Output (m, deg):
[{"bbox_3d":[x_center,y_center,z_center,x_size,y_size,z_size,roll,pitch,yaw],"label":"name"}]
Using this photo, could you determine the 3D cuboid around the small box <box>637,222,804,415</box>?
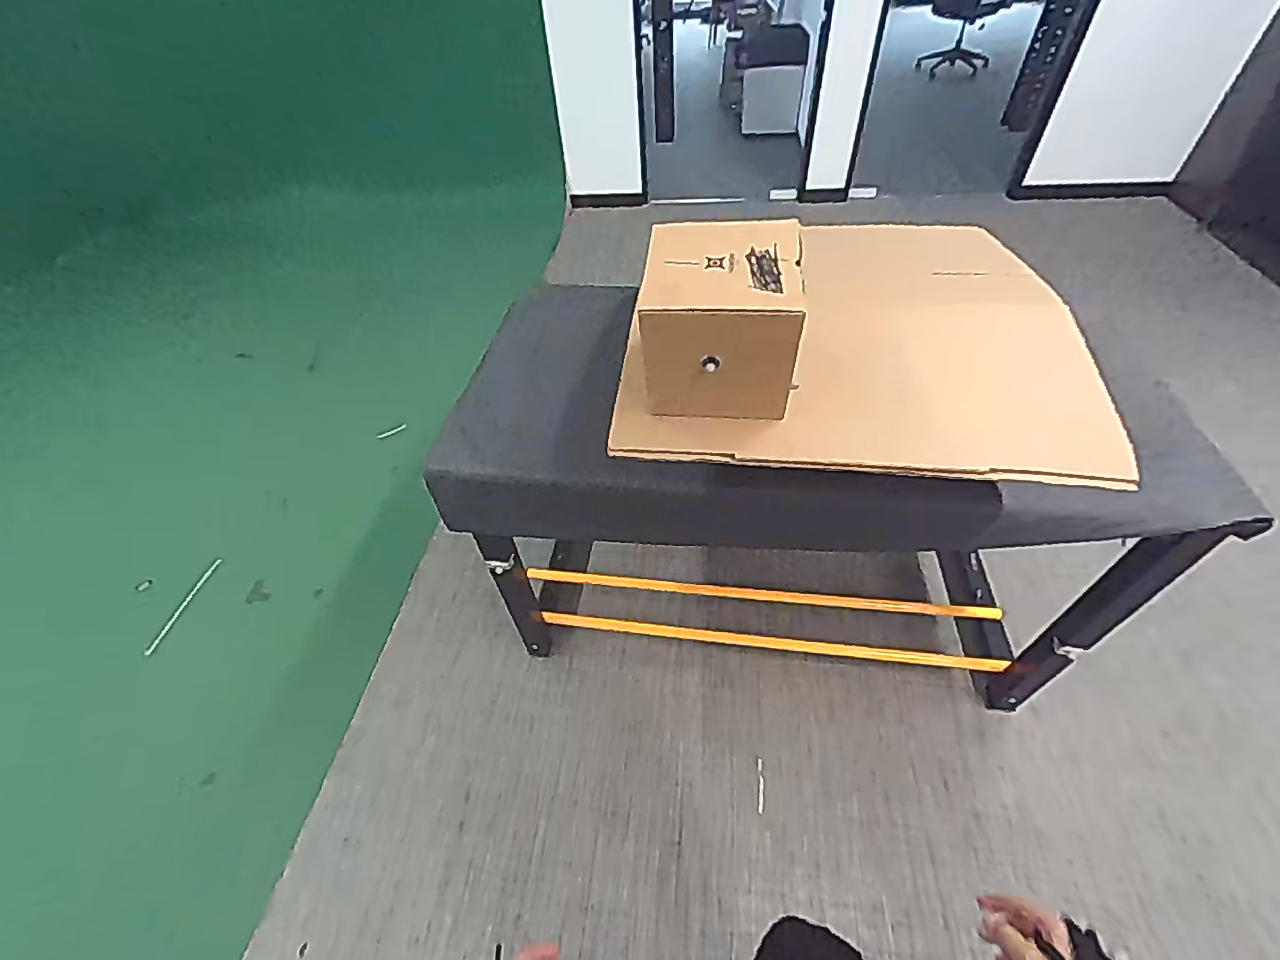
[{"bbox_3d":[0.099,-0.195,0.672,0.179,0.176,0.168,3,56,9],"label":"small box"}]
